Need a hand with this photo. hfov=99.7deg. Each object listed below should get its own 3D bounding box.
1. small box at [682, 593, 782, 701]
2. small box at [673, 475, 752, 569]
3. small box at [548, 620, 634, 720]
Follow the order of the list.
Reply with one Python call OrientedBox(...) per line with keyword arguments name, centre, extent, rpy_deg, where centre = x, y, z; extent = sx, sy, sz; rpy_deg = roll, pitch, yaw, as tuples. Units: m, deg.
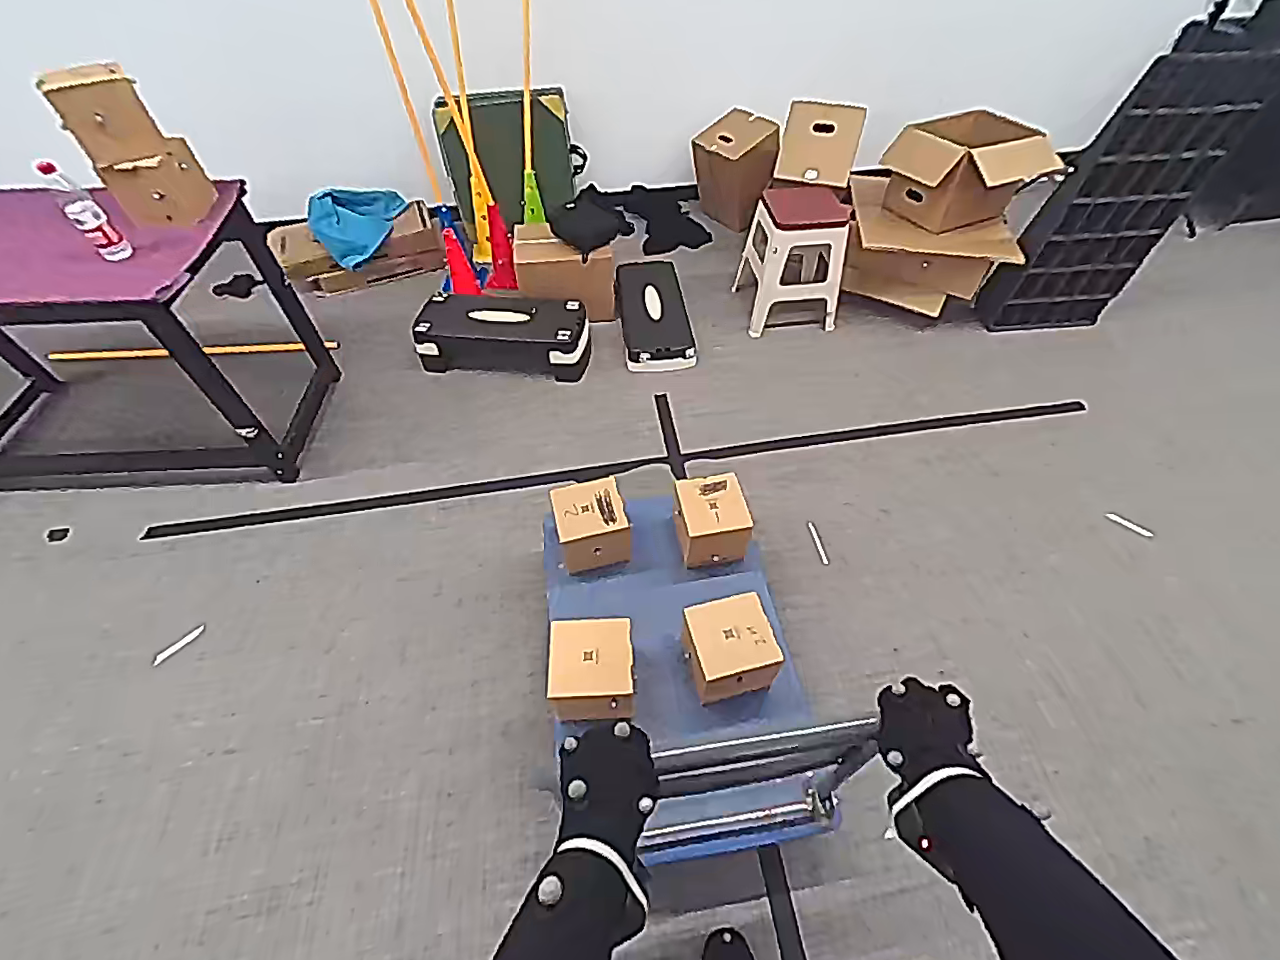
OrientedBox(name="small box", centre=(0.199, 0.386, 1.233), extent=(0.179, 0.176, 0.168), rpy_deg=(-12, 53, -8))
OrientedBox(name="small box", centre=(0.185, 0.113, 1.445), extent=(0.168, 0.176, 0.179), rpy_deg=(-9, 54, -6))
OrientedBox(name="small box", centre=(-0.104, 0.426, 1.205), extent=(0.179, 0.176, 0.168), rpy_deg=(-2, 51, -3))
